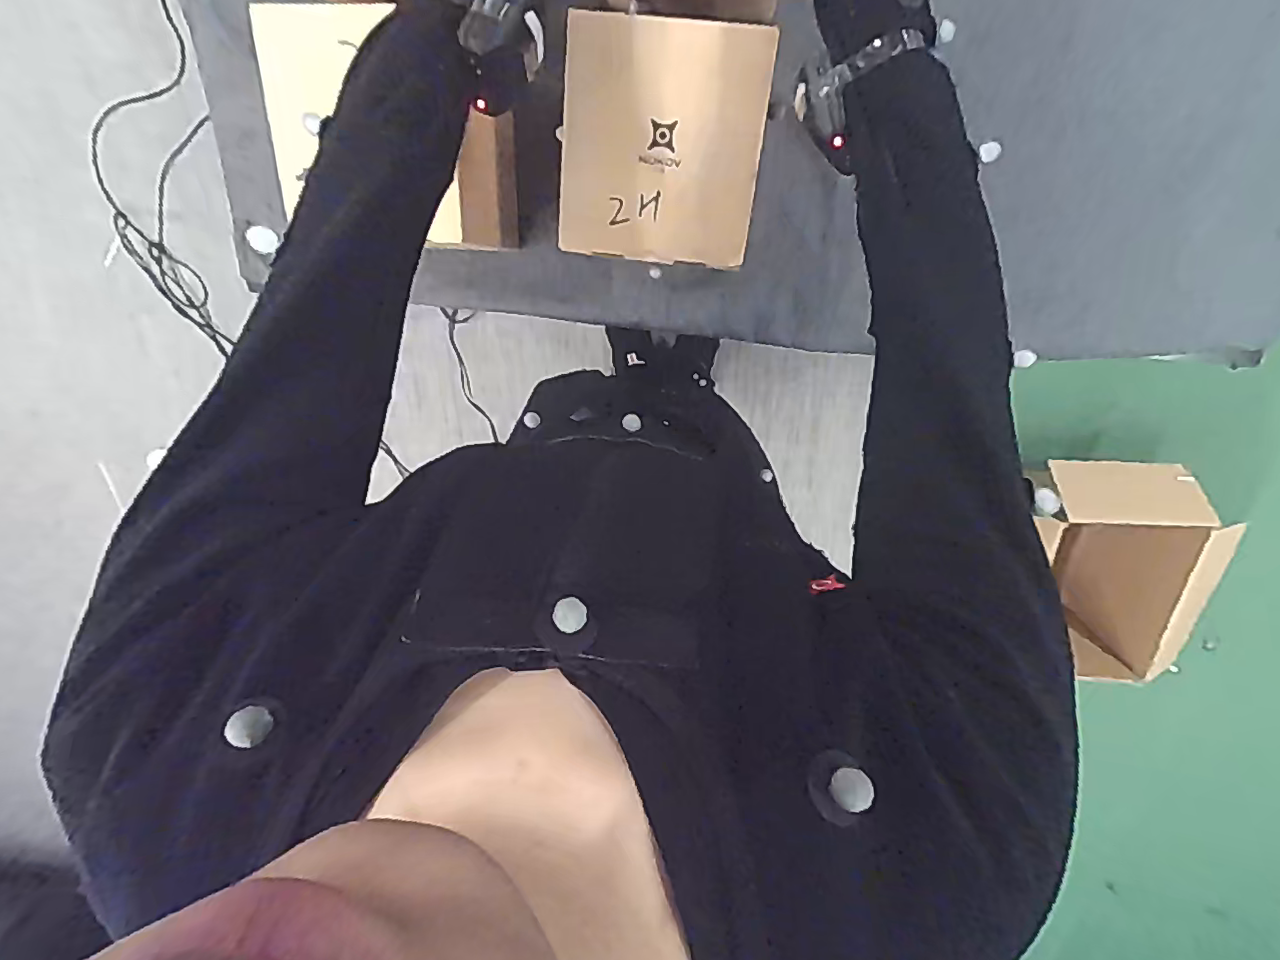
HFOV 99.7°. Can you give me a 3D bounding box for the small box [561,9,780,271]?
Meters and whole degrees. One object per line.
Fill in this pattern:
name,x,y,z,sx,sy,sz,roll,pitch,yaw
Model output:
small box,0.025,-0.304,0.521,0.168,0.176,0.179,7,113,3
